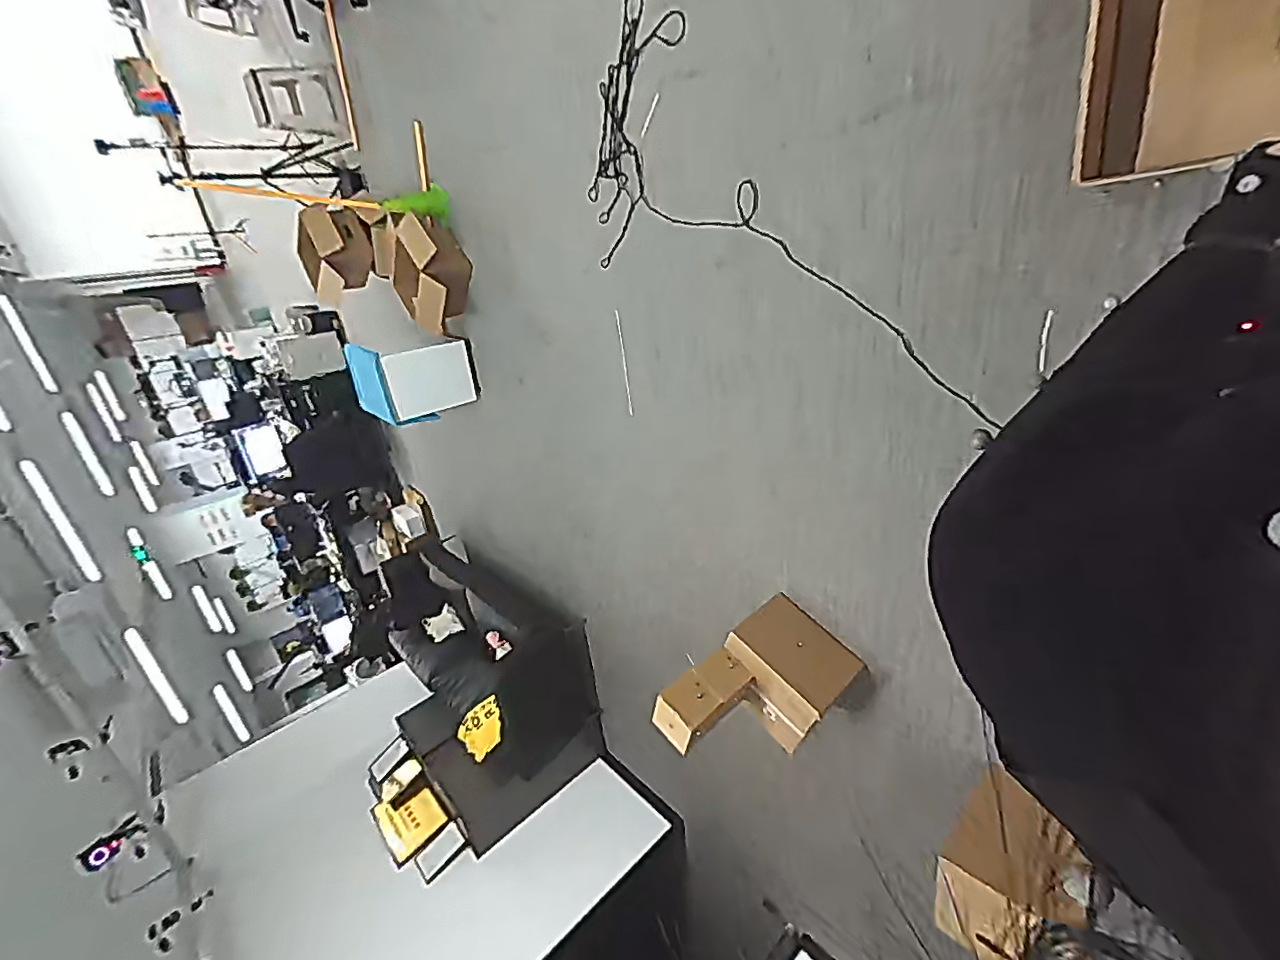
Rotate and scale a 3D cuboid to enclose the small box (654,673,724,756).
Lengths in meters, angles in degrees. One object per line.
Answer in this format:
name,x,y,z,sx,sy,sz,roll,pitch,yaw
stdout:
small box,0.174,0.823,1.908,0.168,0.176,0.179,37,136,34
